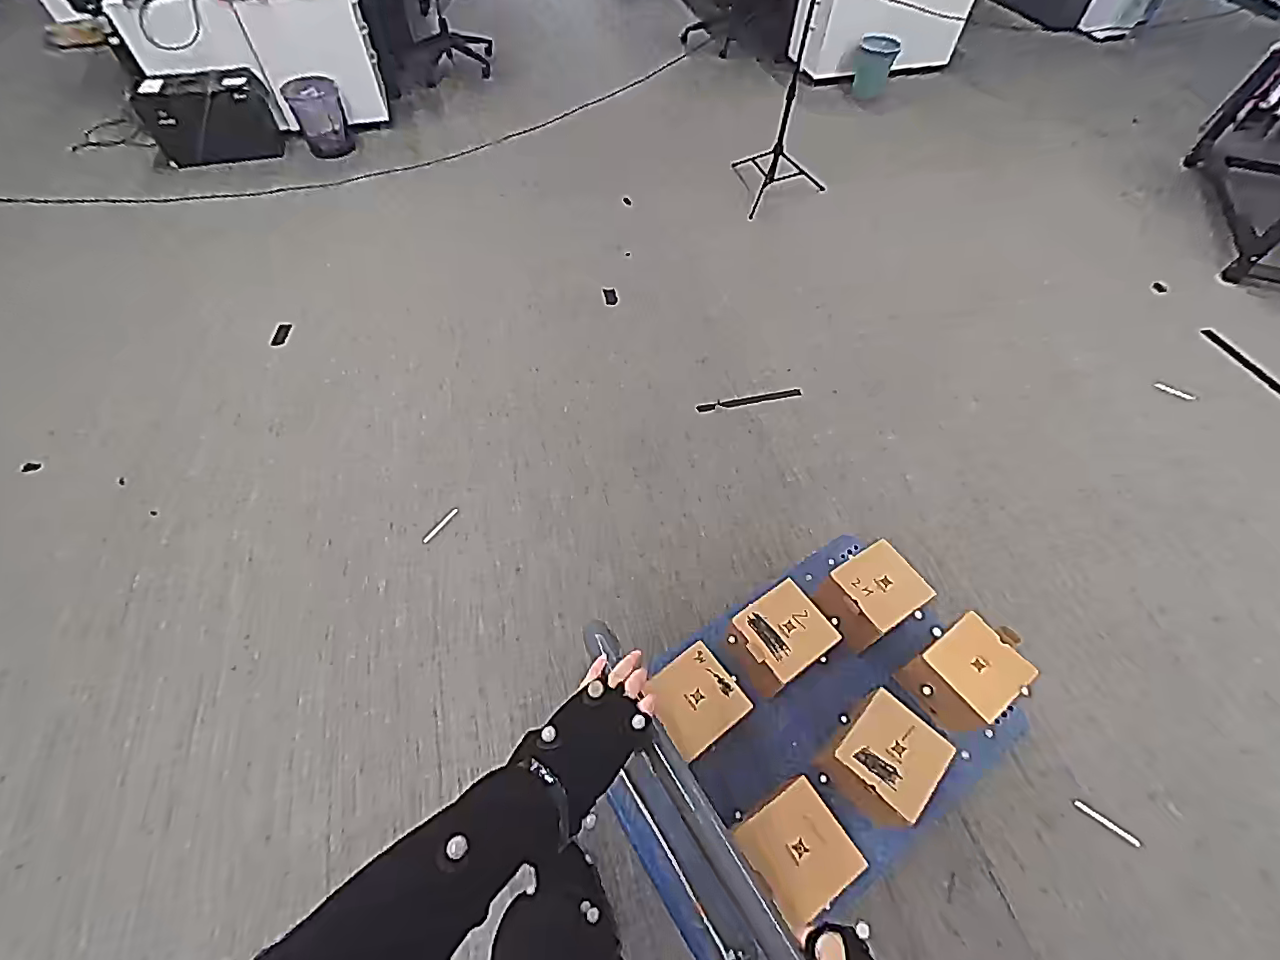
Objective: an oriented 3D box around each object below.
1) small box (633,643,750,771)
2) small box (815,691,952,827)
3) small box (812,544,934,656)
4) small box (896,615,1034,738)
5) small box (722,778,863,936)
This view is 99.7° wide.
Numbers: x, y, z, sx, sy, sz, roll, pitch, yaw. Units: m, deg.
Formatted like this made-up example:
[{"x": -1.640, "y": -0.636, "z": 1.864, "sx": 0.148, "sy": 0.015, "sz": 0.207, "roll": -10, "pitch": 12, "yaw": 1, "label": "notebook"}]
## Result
[{"x": 0.102, "y": 0.480, "z": 1.132, "sx": 0.179, "sy": 0.176, "sz": 0.168, "roll": -31, "pitch": 63, "yaw": -20, "label": "small box"}, {"x": 0.477, "y": 0.566, "z": 1.088, "sx": 0.168, "sy": 0.176, "sz": 0.179, "roll": 40, "pitch": 63, "yaw": 22, "label": "small box"}, {"x": 0.538, "y": 0.287, "z": 1.277, "sx": 0.179, "sy": 0.176, "sz": 0.168, "roll": -26, "pitch": 60, "yaw": -17, "label": "small box"}, {"x": 0.695, "y": 0.435, "z": 1.185, "sx": 0.179, "sy": 0.176, "sz": 0.168, "roll": -30, "pitch": 62, "yaw": -20, "label": "small box"}, {"x": 0.268, "y": 0.689, "z": 0.999, "sx": 0.179, "sy": 0.176, "sz": 0.168, "roll": -27, "pitch": 61, "yaw": -19, "label": "small box"}]
